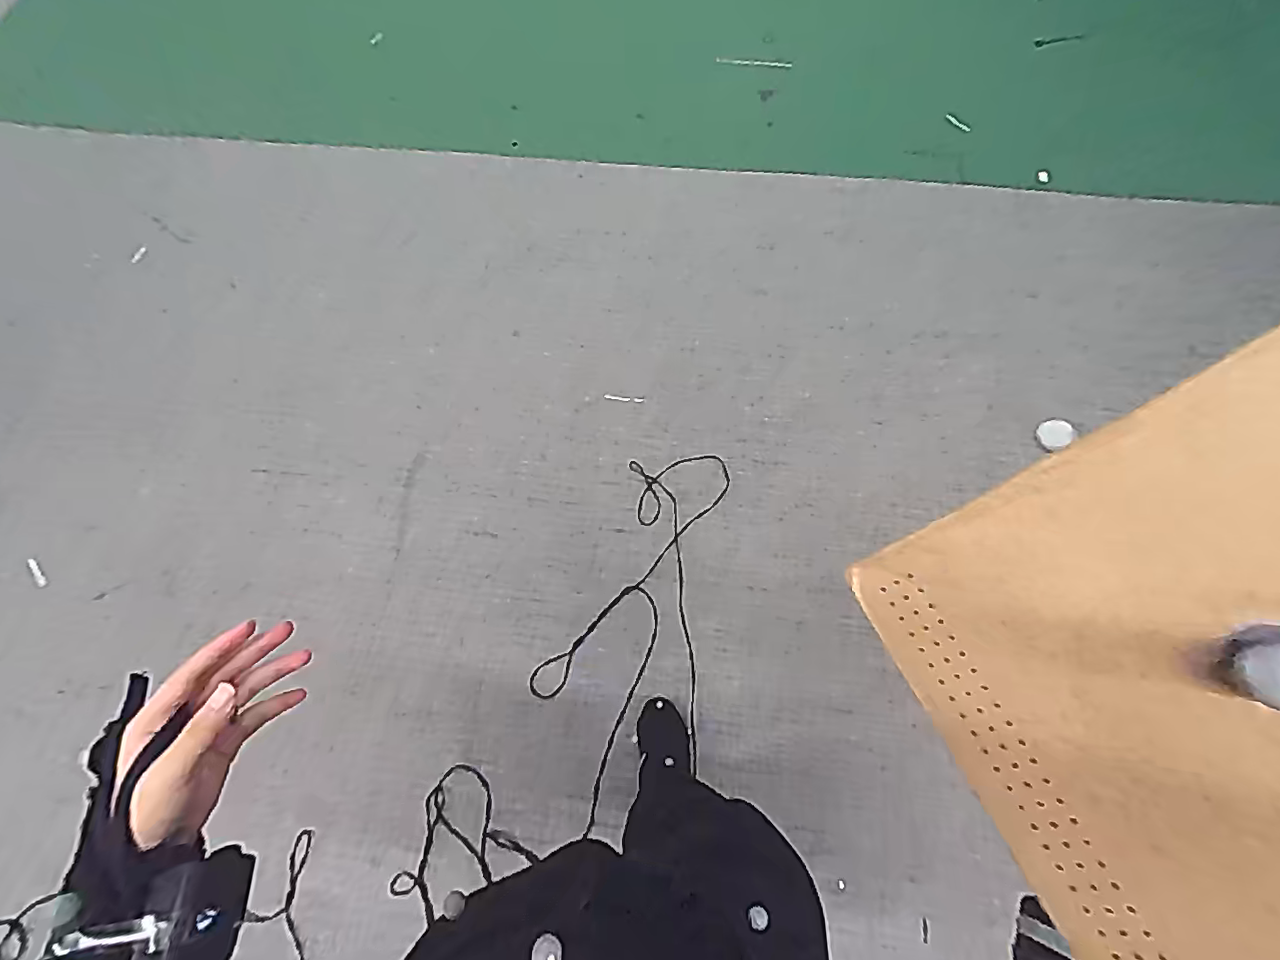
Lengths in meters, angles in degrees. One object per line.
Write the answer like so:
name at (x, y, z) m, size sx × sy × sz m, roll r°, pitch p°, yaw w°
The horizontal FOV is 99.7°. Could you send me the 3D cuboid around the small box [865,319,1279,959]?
small box at (0.226, 0.062, 0.204) m, size 0.168 × 0.176 × 0.179 m, roll -10°, pitch 62°, yaw -39°
